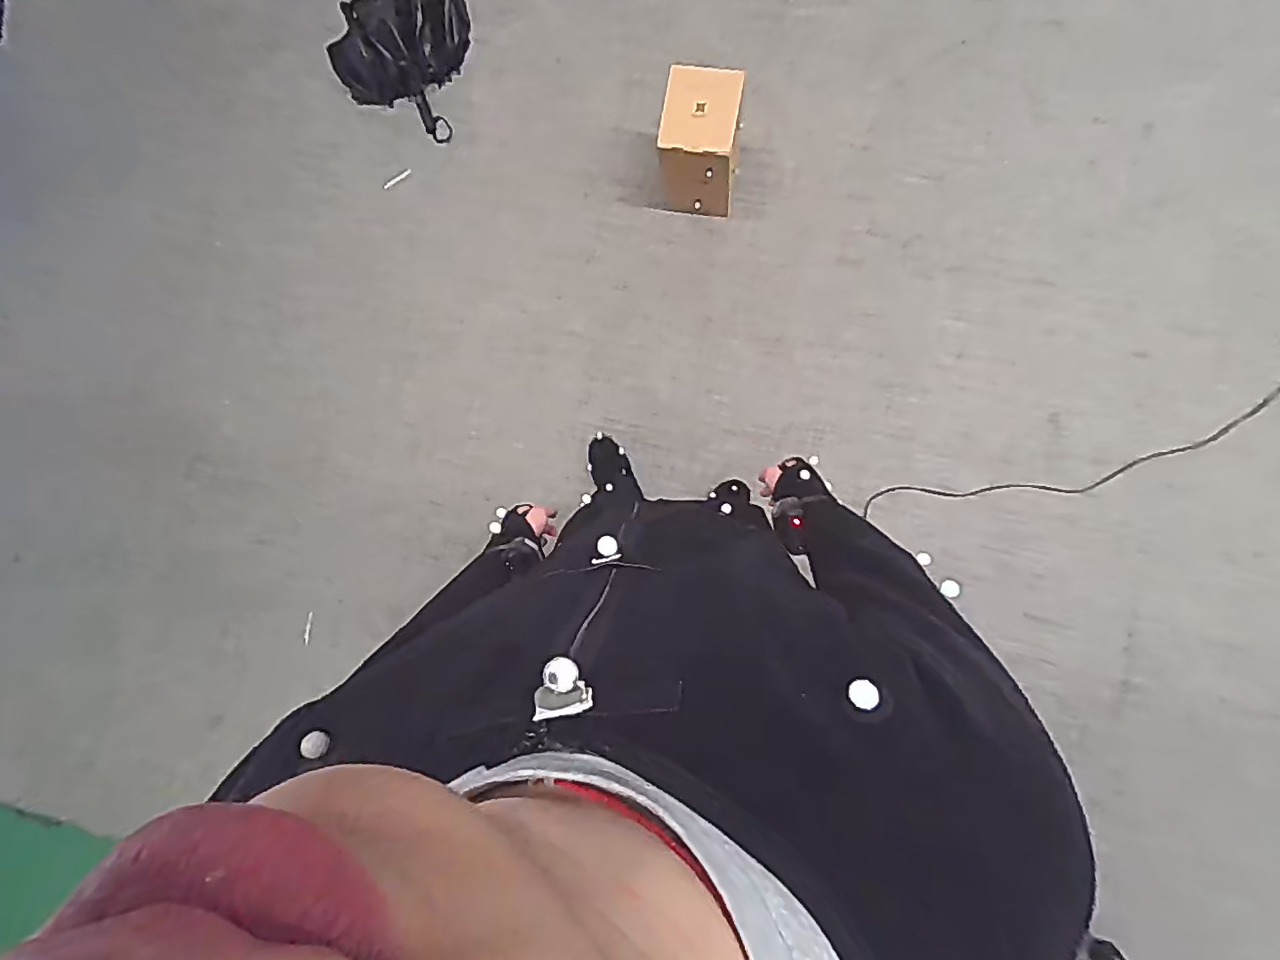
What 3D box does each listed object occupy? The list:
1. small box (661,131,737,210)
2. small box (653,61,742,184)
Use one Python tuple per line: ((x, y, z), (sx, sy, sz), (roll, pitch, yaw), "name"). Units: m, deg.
((0.155, -0.822, 1.394), (0.168, 0.176, 0.179), (10, 97, 7), "small box")
((0.132, -0.805, 1.234), (0.168, 0.176, 0.179), (10, 95, 6), "small box")
